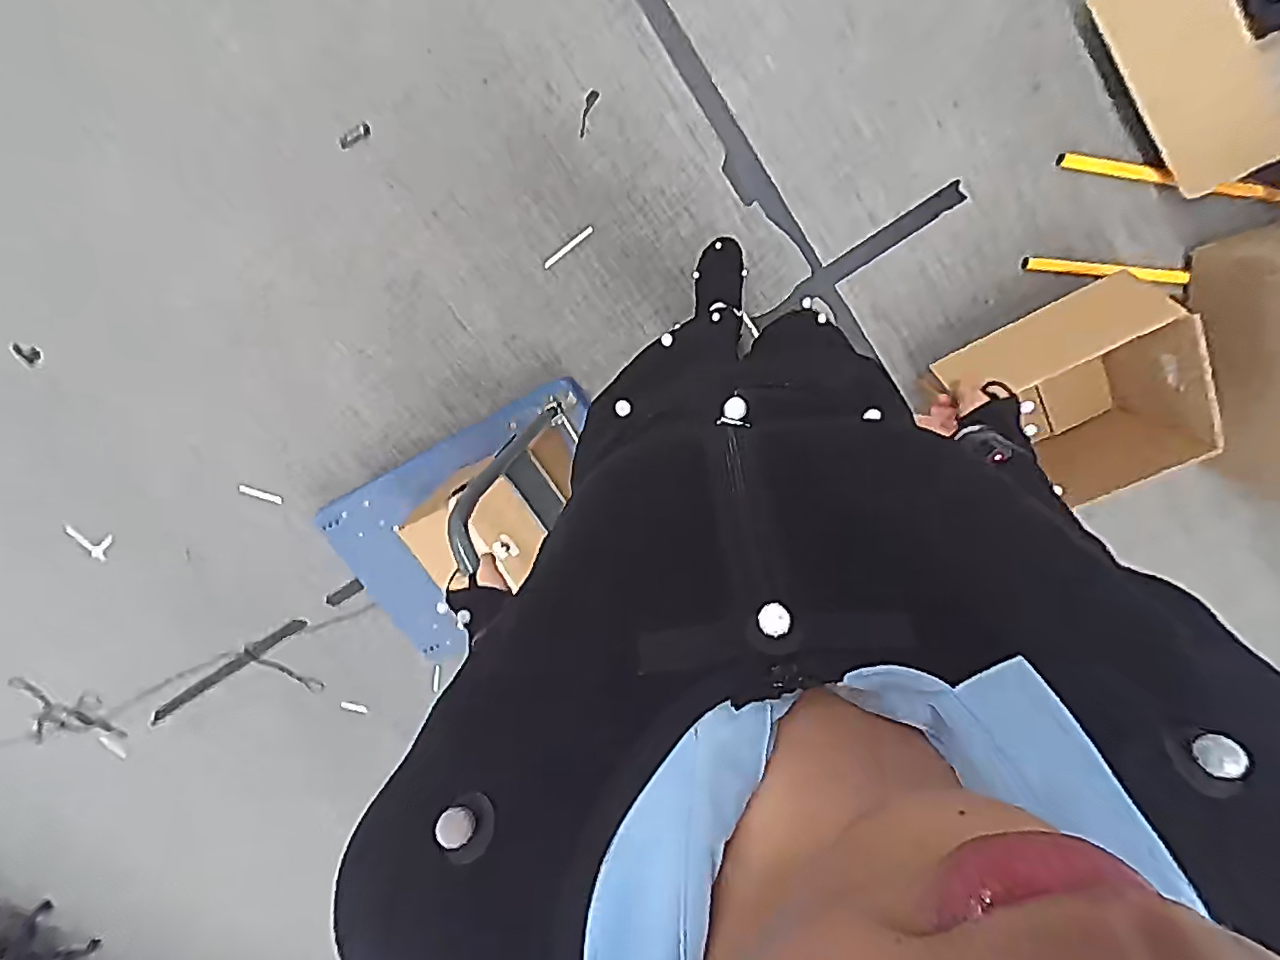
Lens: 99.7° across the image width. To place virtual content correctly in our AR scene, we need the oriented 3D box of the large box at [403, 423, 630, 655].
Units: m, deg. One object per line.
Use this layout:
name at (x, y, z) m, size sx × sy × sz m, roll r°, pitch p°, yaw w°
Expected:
large box at (-0.266, 0.135, 1.310) m, size 0.320 × 0.320 × 0.408 m, roll -25°, pitch 108°, yaw 15°
